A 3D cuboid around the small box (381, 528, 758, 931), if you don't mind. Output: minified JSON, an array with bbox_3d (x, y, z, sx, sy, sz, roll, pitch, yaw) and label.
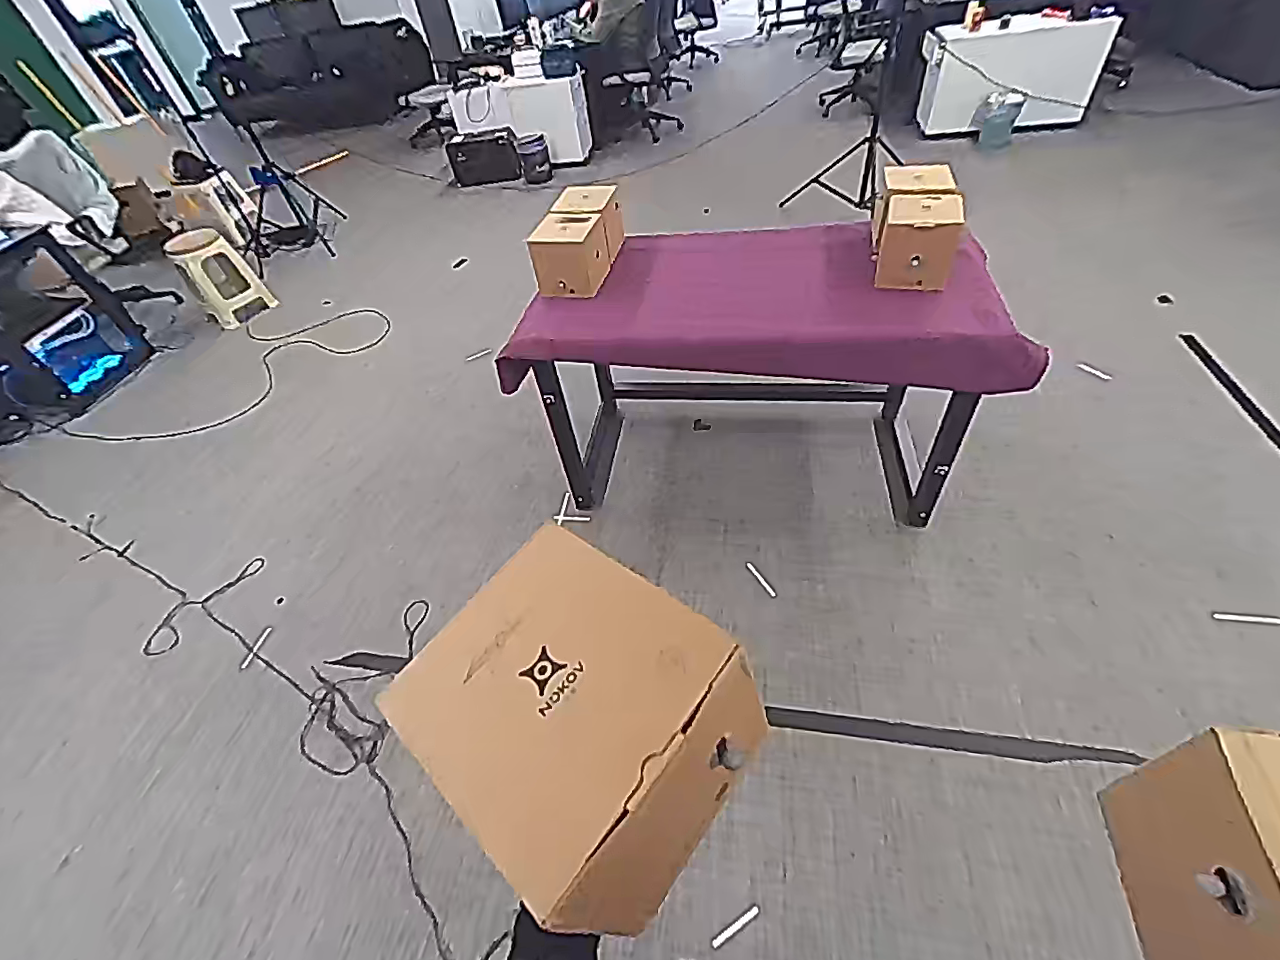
[{"bbox_3d":[-0.033,0.171,0.386,0.179,0.176,0.168,25,62,35],"label":"small box"}]

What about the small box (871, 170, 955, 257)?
[{"bbox_3d":[0.744,-0.737,1.495,0.168,0.176,0.179,6,48,13],"label":"small box"}]

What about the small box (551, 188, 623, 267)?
[{"bbox_3d":[-0.156,-0.783,1.674,0.168,0.176,0.179,6,50,14],"label":"small box"}]

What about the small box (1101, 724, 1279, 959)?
[{"bbox_3d":[0.408,0.263,0.302,0.168,0.176,0.179,0,50,17],"label":"small box"}]
